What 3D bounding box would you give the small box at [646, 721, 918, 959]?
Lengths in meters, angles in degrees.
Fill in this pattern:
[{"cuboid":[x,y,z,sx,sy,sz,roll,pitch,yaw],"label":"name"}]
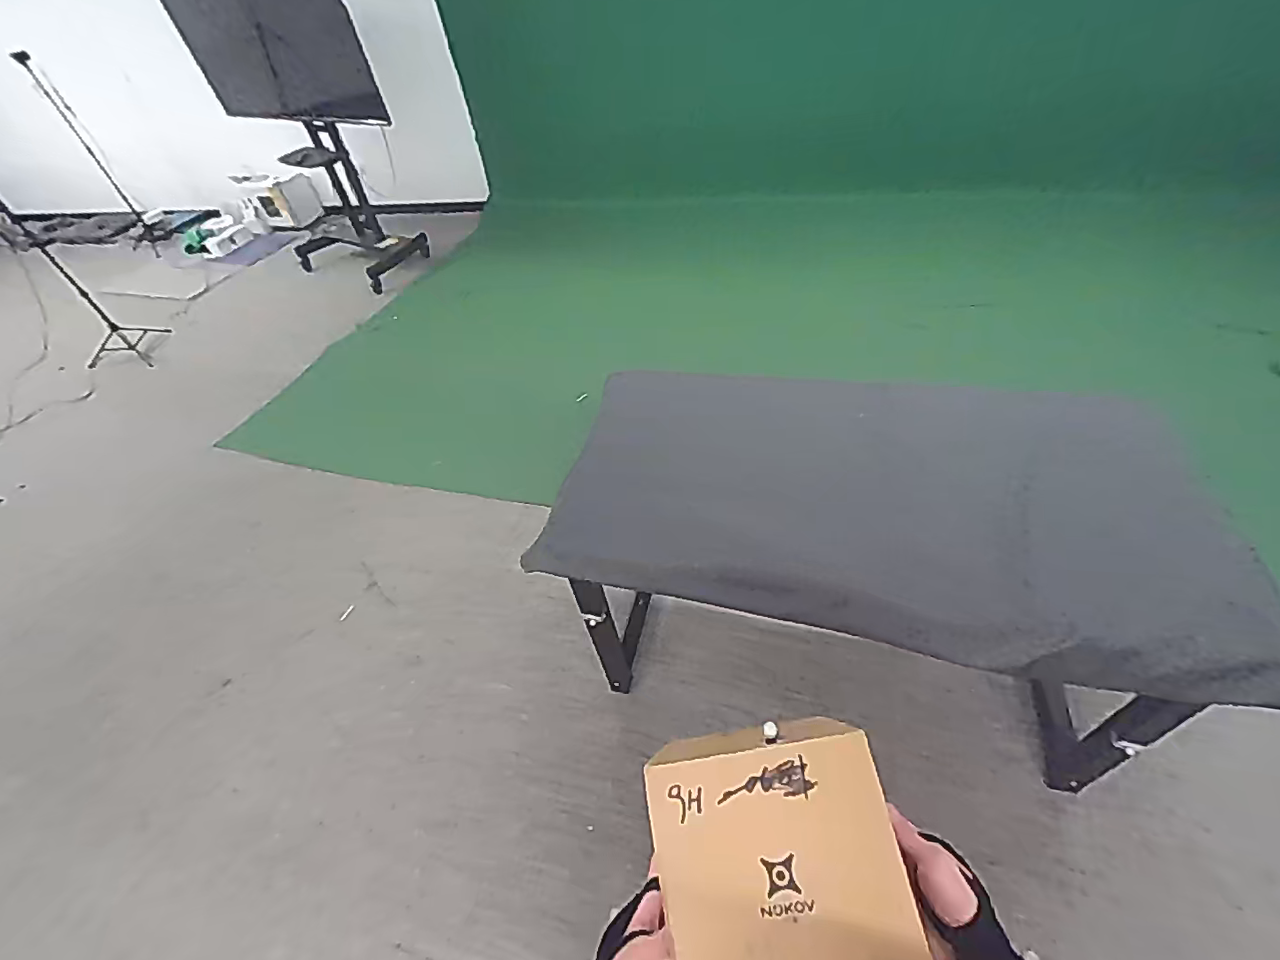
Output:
[{"cuboid":[0.107,0.312,0.448,0.168,0.176,0.179,-11,70,4],"label":"small box"}]
